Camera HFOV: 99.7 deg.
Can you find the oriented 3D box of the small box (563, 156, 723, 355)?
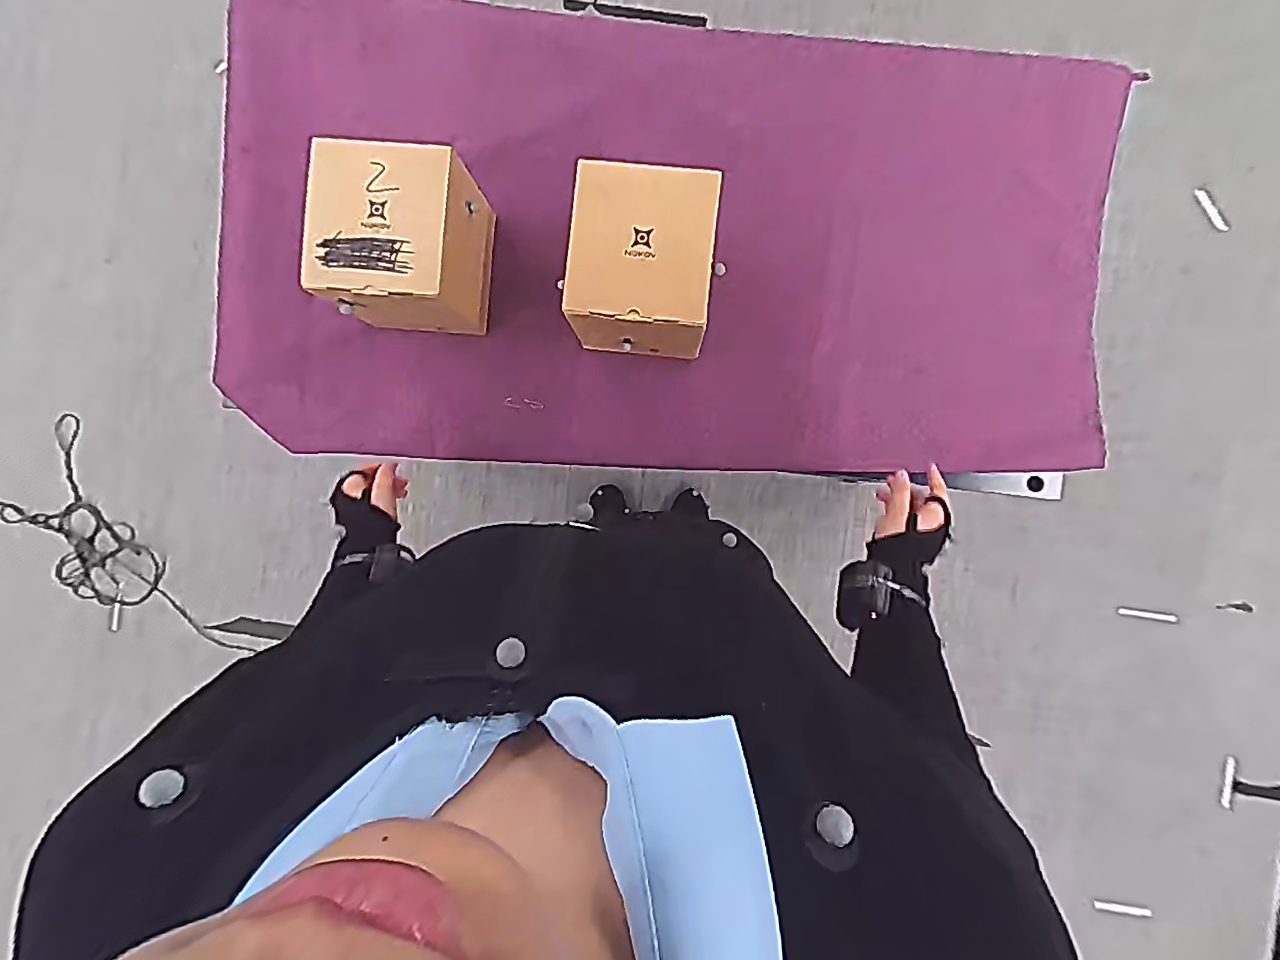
[{"bbox_3d":[0.005,-0.271,0.687,0.168,0.176,0.179,6,91,2],"label":"small box"}]
